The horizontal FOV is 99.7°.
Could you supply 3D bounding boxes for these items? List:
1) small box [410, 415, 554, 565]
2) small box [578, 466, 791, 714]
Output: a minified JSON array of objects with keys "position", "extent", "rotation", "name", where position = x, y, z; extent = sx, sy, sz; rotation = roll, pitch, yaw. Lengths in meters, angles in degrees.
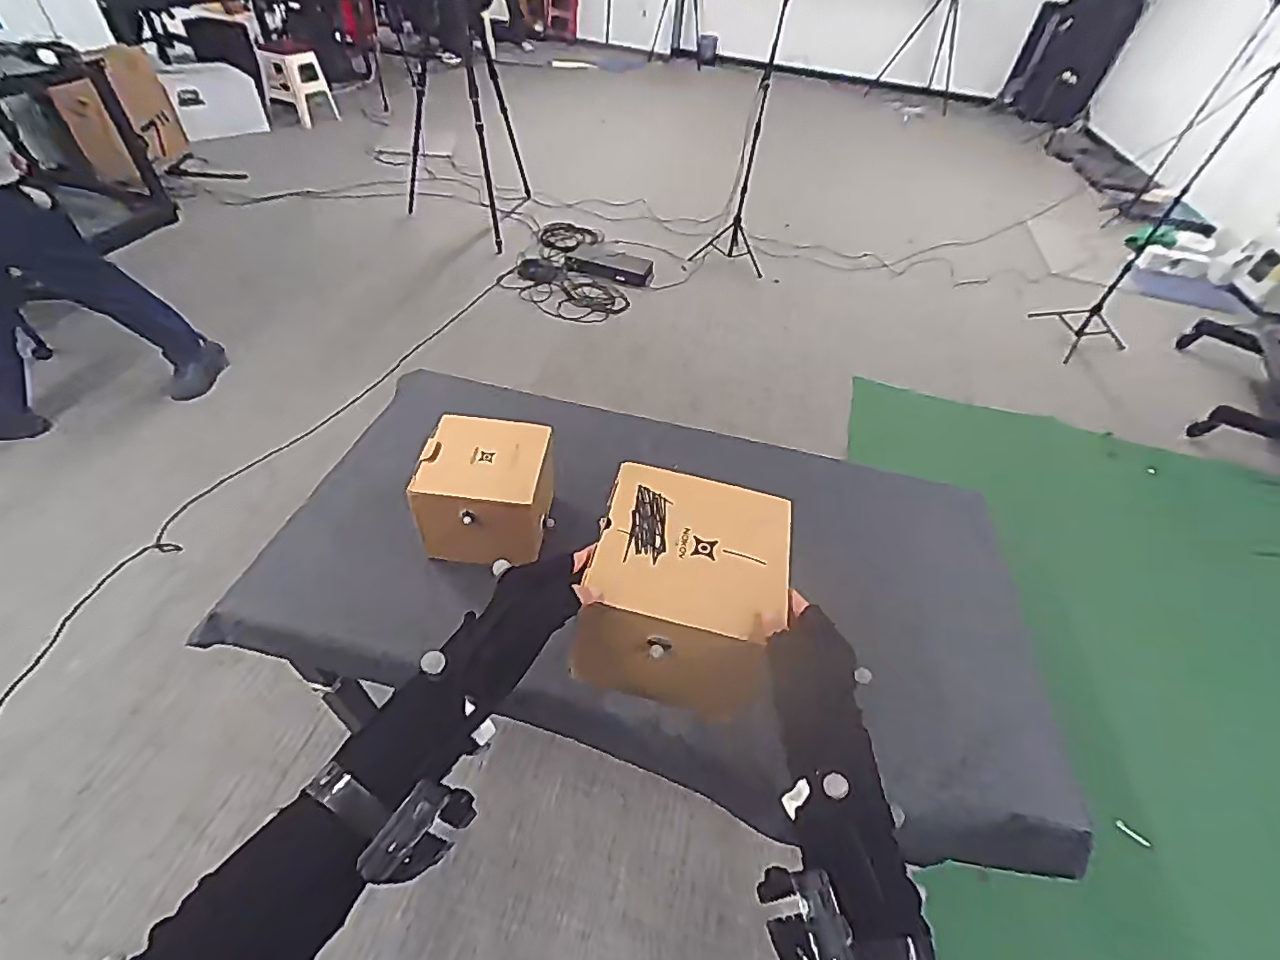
[{"position":[-0.238,0.020,0.864],"extent":[0.179,0.176,0.168],"rotation":[7,48,-3],"name":"small box"},{"position":[0.041,0.116,0.551],"extent":[0.179,0.176,0.168],"rotation":[14,48,3],"name":"small box"}]
